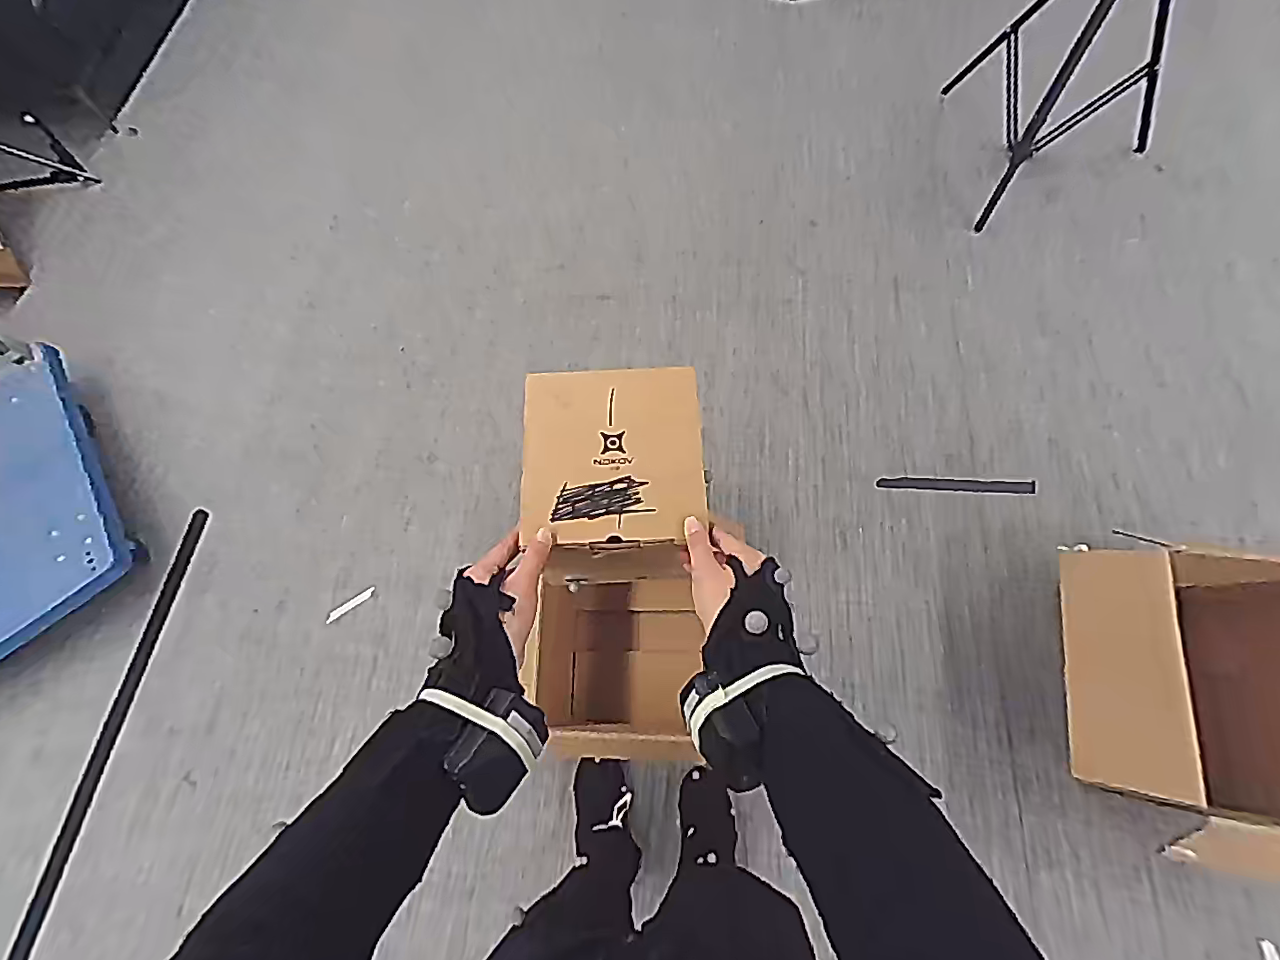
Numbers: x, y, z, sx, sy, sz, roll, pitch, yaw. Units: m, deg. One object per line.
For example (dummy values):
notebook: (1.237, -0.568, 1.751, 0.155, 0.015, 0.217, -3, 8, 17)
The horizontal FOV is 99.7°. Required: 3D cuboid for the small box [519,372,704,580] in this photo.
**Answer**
small box: (-0.025, 0.007, 0.573, 0.168, 0.176, 0.179, -2, 67, -1)
